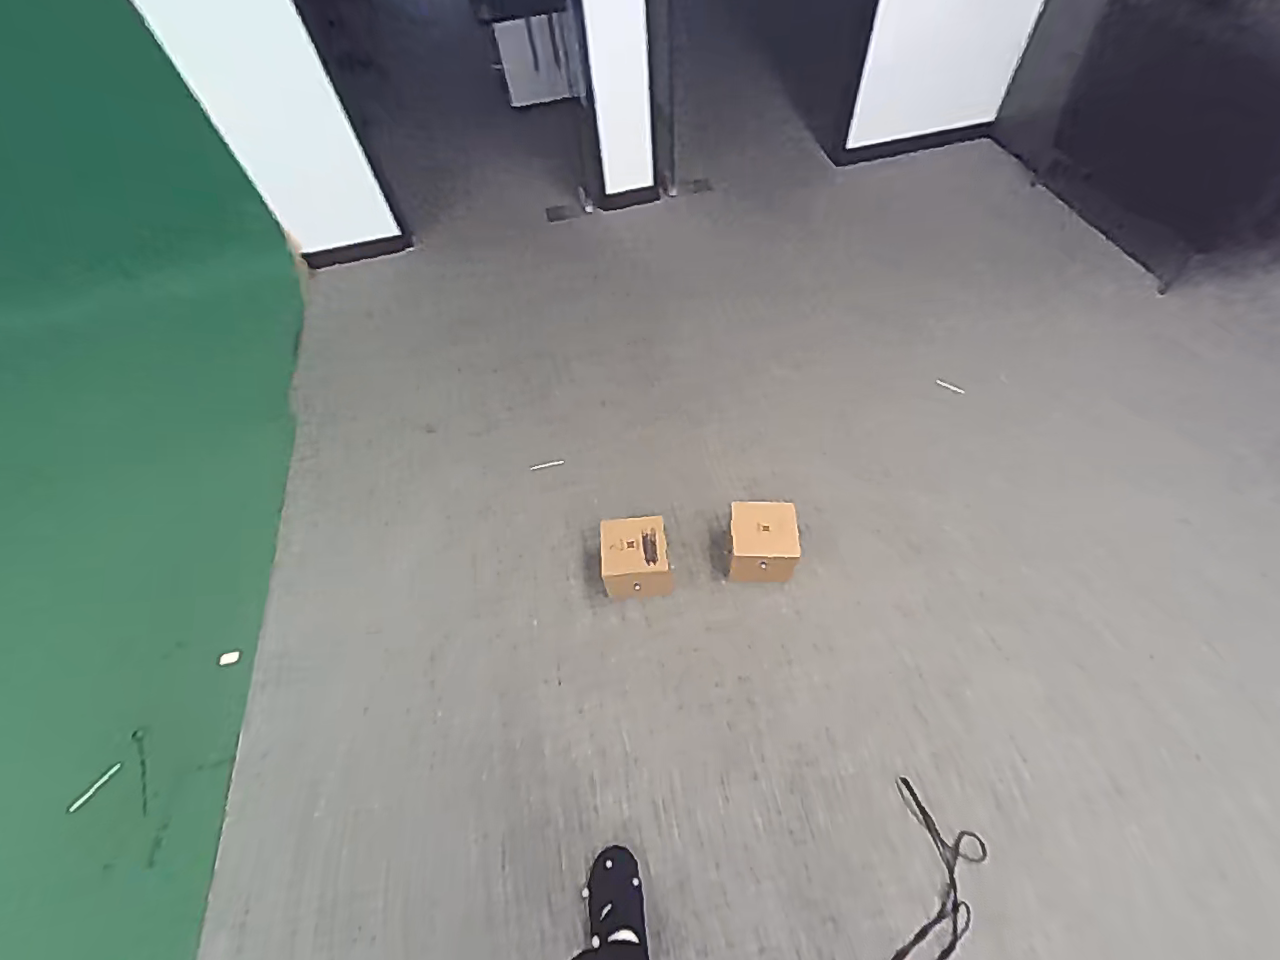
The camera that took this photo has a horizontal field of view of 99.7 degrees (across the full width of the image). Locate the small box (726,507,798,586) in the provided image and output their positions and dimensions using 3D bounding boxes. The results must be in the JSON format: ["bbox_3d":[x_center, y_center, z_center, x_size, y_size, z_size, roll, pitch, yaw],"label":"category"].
[{"bbox_3d":[0.332,0.188,1.501,0.179,0.176,0.168,1,57,5],"label":"small box"}]
